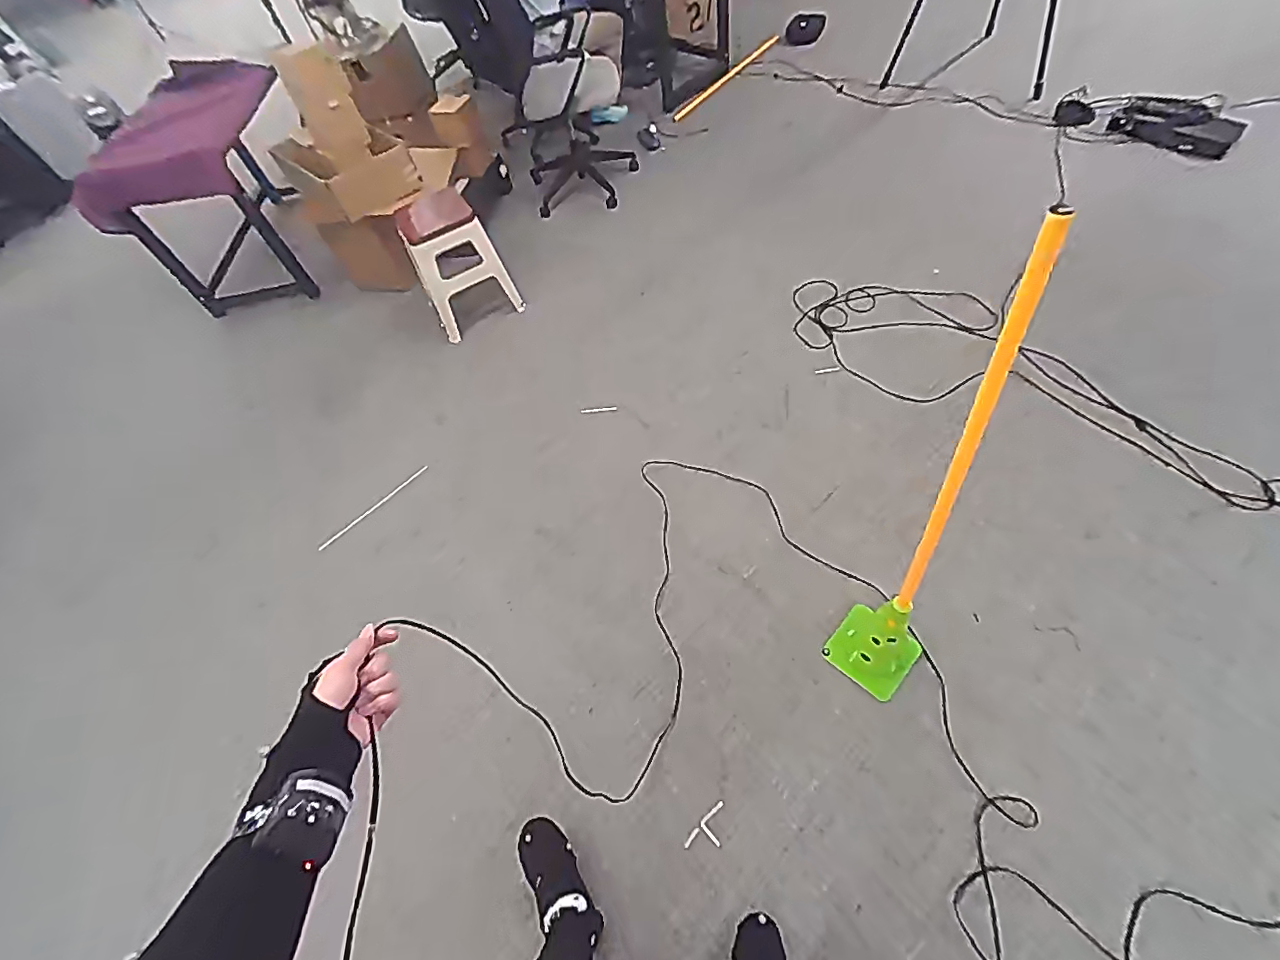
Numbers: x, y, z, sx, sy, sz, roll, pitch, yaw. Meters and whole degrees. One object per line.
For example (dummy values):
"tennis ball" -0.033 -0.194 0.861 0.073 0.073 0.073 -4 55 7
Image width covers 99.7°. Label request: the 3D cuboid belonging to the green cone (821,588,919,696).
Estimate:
"green cone" 0.604 0.360 1.331 0.200 0.368 0.202 35 68 27
